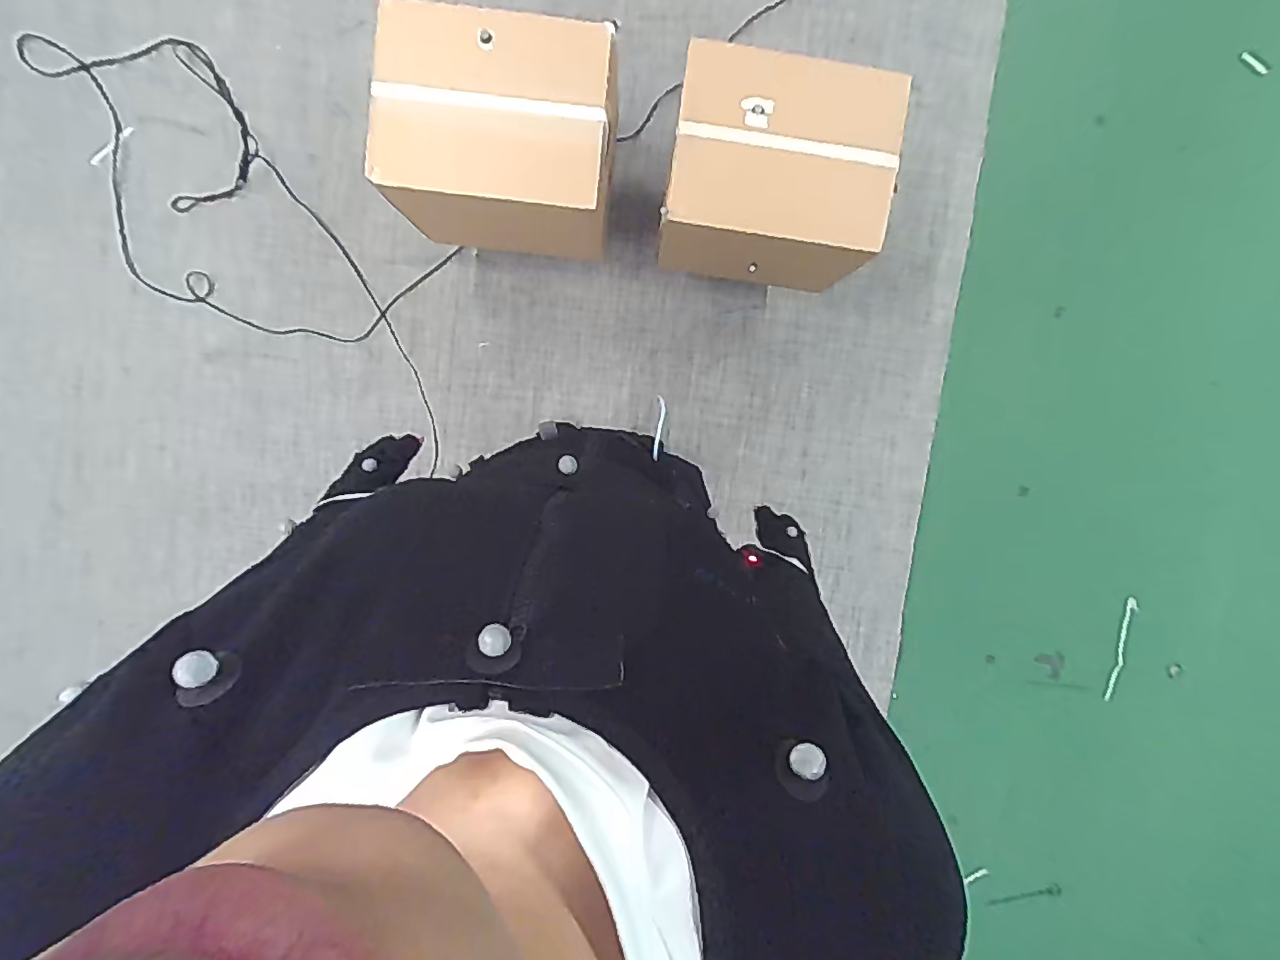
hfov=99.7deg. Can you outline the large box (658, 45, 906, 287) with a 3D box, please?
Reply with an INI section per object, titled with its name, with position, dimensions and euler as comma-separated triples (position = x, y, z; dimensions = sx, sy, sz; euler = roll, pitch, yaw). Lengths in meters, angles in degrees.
[large box]
position = 0.263, -0.616, 1.130
dimensions = 0.408, 0.320, 0.320
euler = 8, 95, -2
